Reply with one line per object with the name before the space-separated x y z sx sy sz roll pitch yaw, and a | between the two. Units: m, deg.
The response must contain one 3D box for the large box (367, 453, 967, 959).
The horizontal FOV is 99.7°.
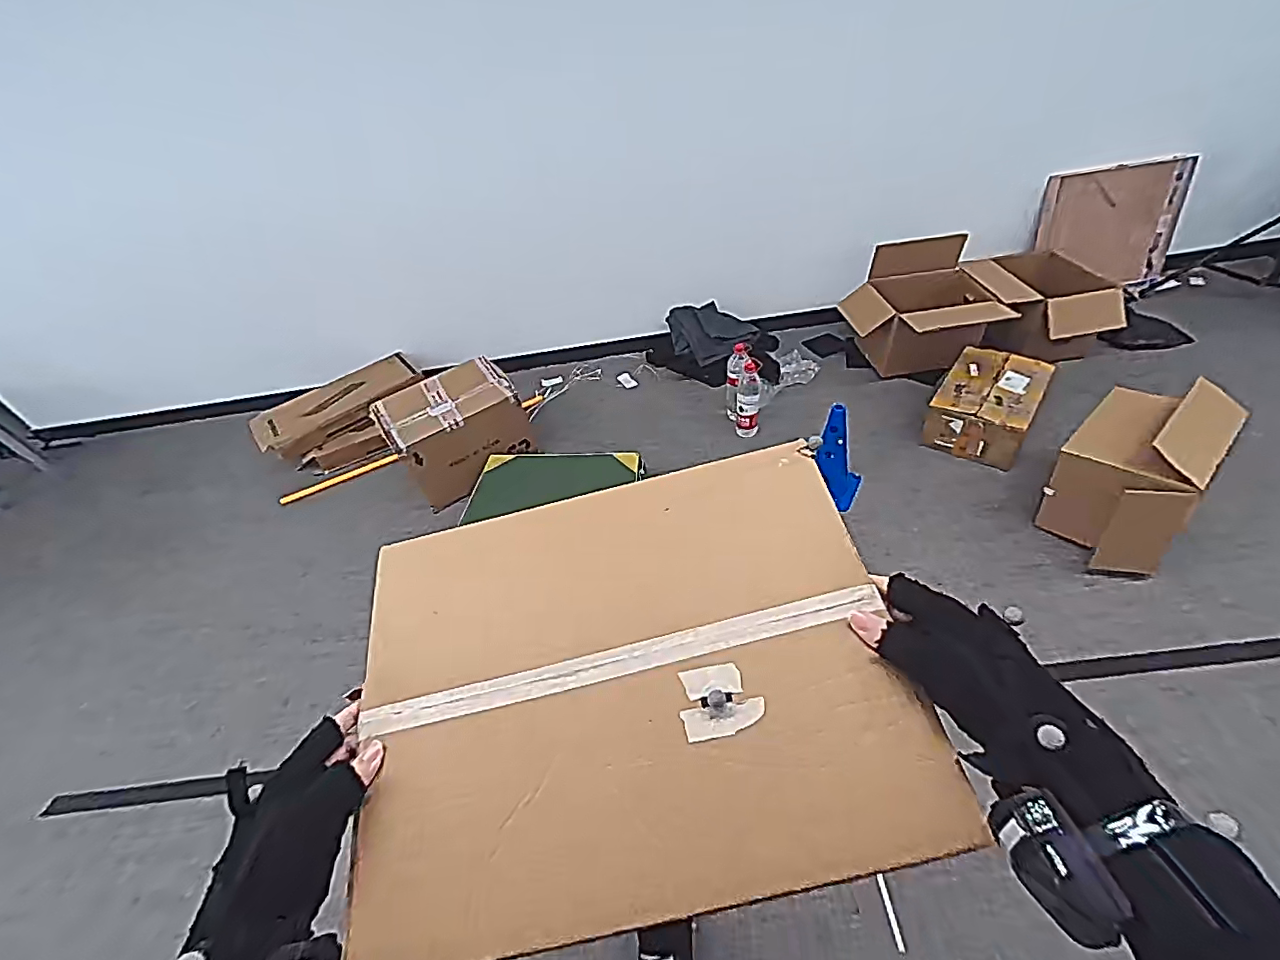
large box | 0.009 0.228 0.546 0.408 0.320 0.320 -15 56 1
